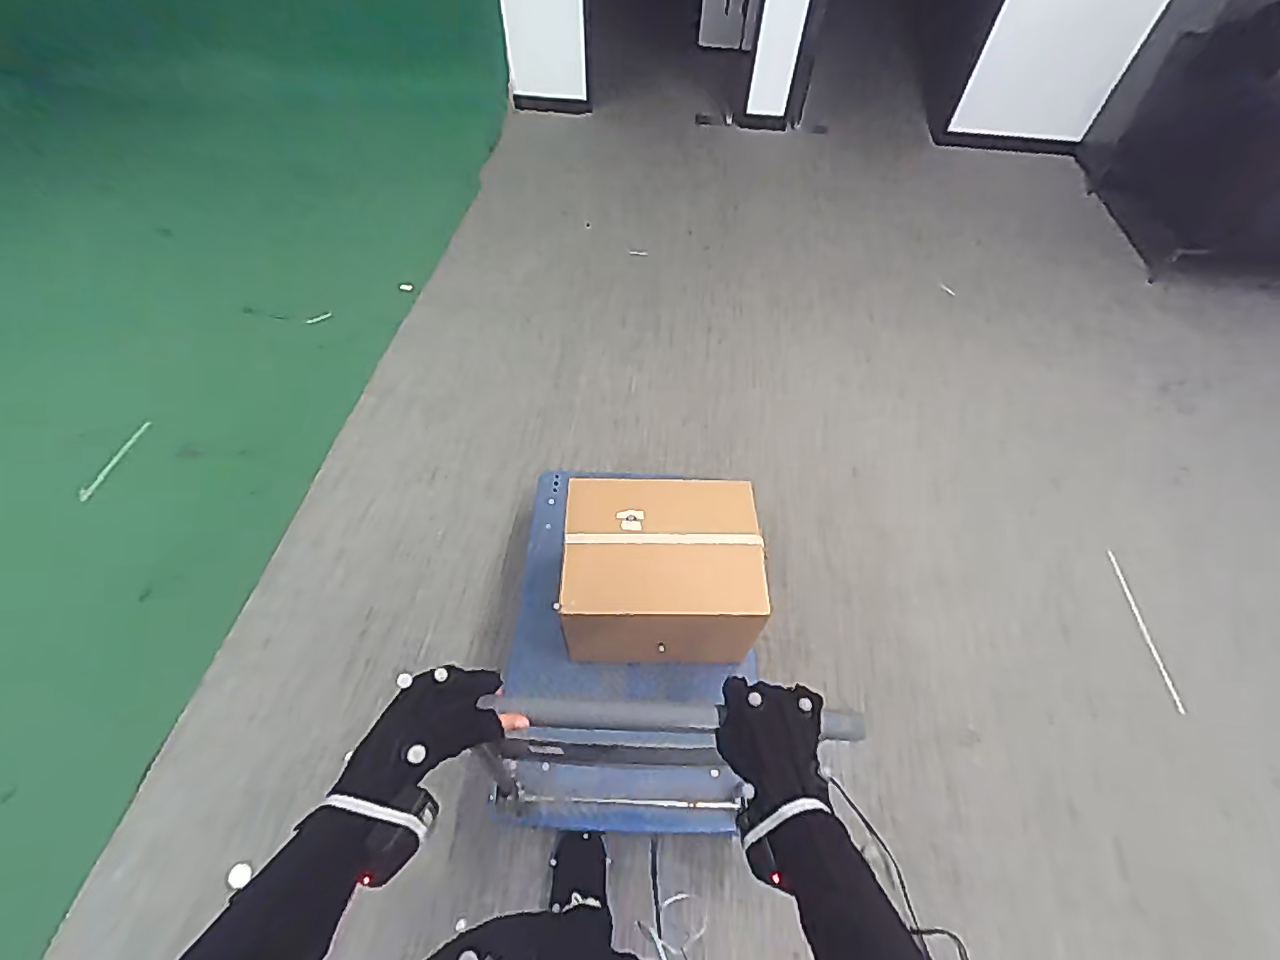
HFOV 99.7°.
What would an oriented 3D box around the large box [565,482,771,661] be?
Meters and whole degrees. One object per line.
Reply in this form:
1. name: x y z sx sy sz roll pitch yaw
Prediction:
1. large box: 0.052 0.218 1.243 0.408 0.320 0.320 -1 55 -1
